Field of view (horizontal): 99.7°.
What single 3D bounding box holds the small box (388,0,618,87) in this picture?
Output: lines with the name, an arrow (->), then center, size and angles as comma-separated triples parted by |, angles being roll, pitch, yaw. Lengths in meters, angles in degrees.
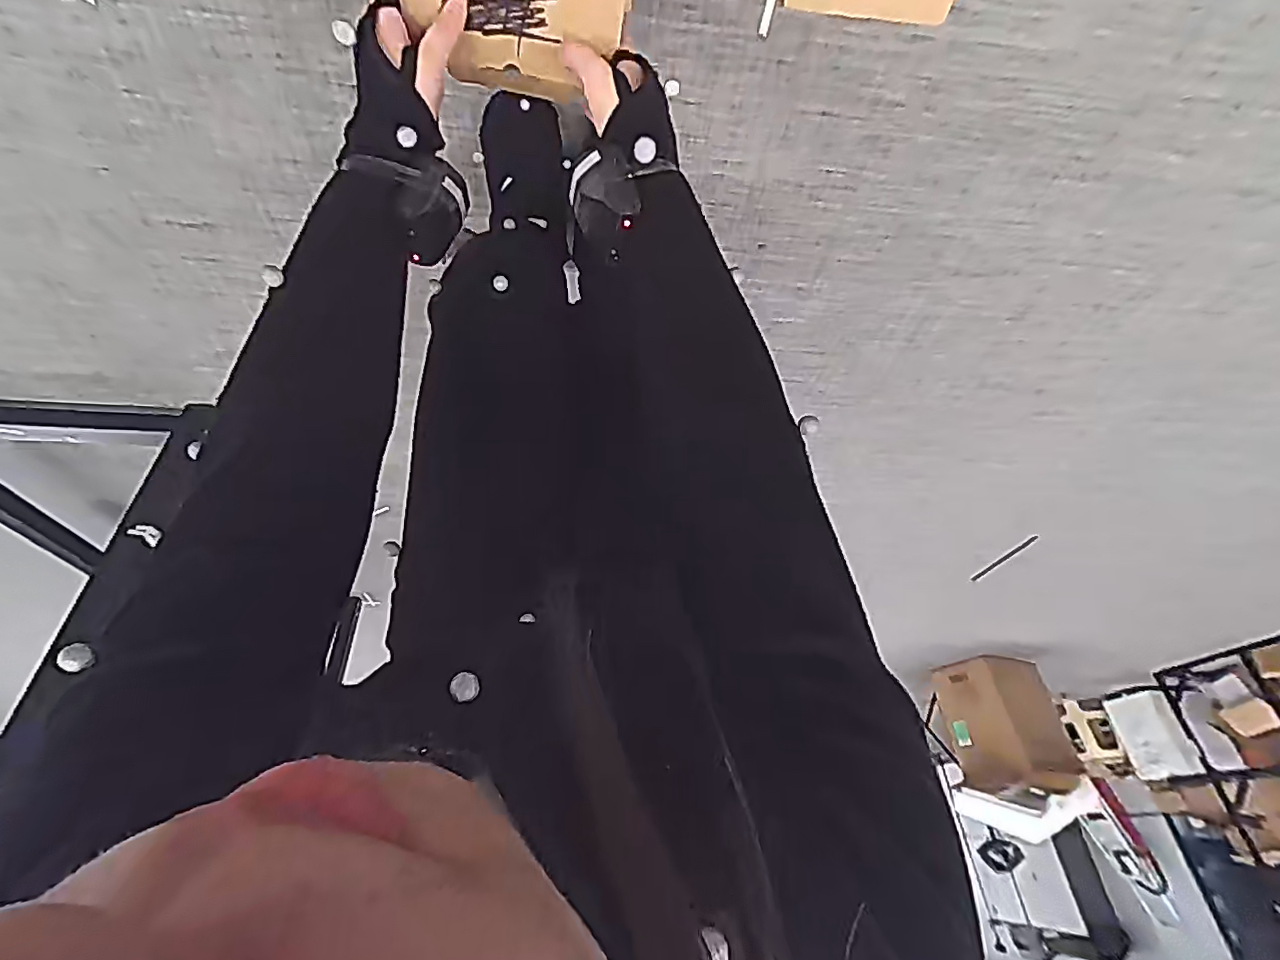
small box -> -0.092, -0.438, 0.400 | 0.168, 0.176, 0.179 | 4, 143, -12

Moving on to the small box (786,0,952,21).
small box -> 0.229, -0.581, 0.517 | 0.179, 0.176, 0.168 | 1, 146, -7
